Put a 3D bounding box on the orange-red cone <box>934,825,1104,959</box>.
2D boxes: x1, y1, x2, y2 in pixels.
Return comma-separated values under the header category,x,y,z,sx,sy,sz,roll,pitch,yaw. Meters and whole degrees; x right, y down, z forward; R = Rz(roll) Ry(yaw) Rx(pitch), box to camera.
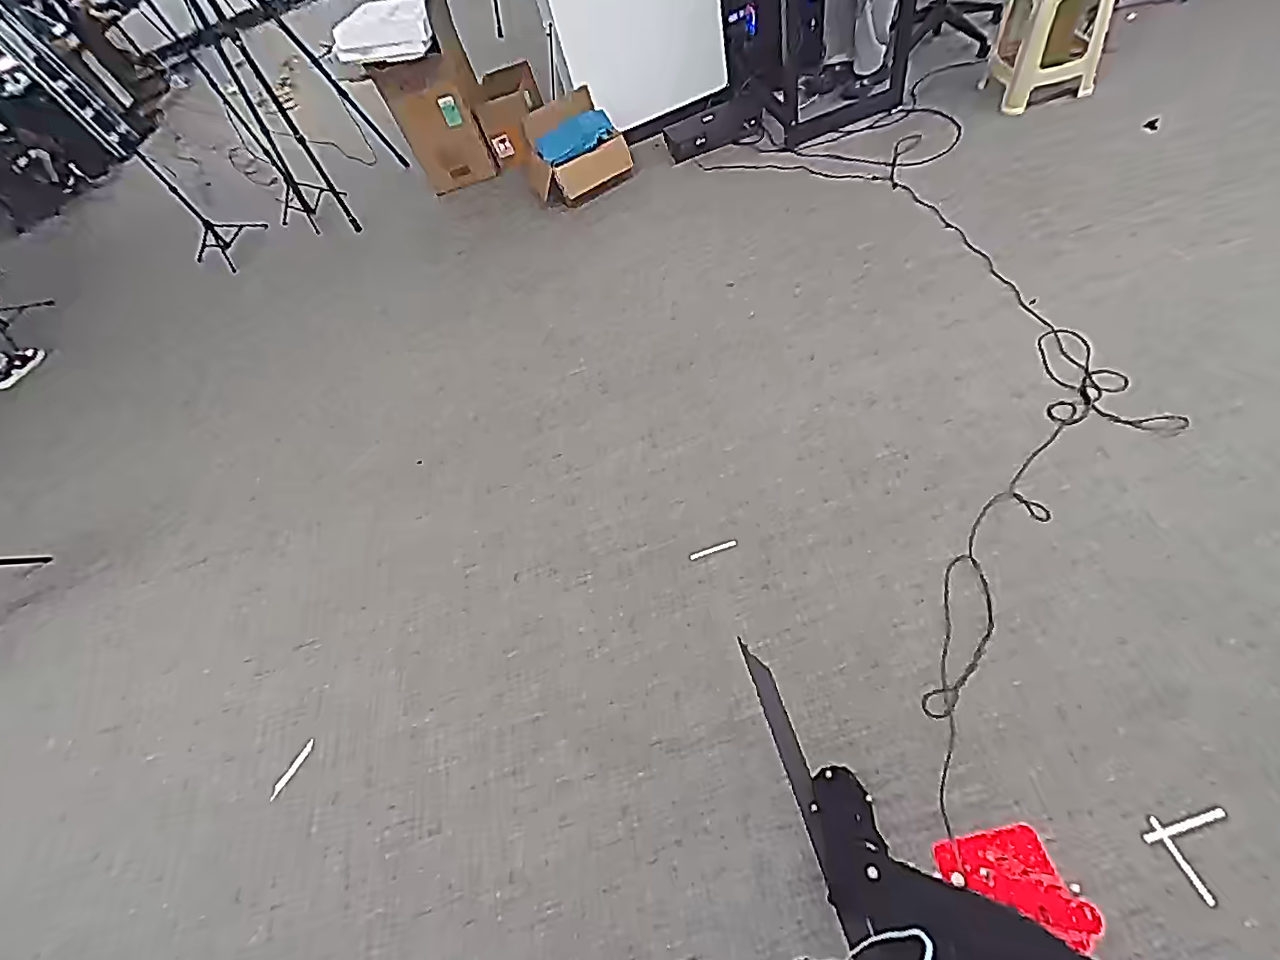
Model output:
category,x,y,z,sx,sy,sz,roll,pitch,yaw
orange-red cone,0.646,0.684,0.872,0.199,0.360,0.198,-16,56,5
